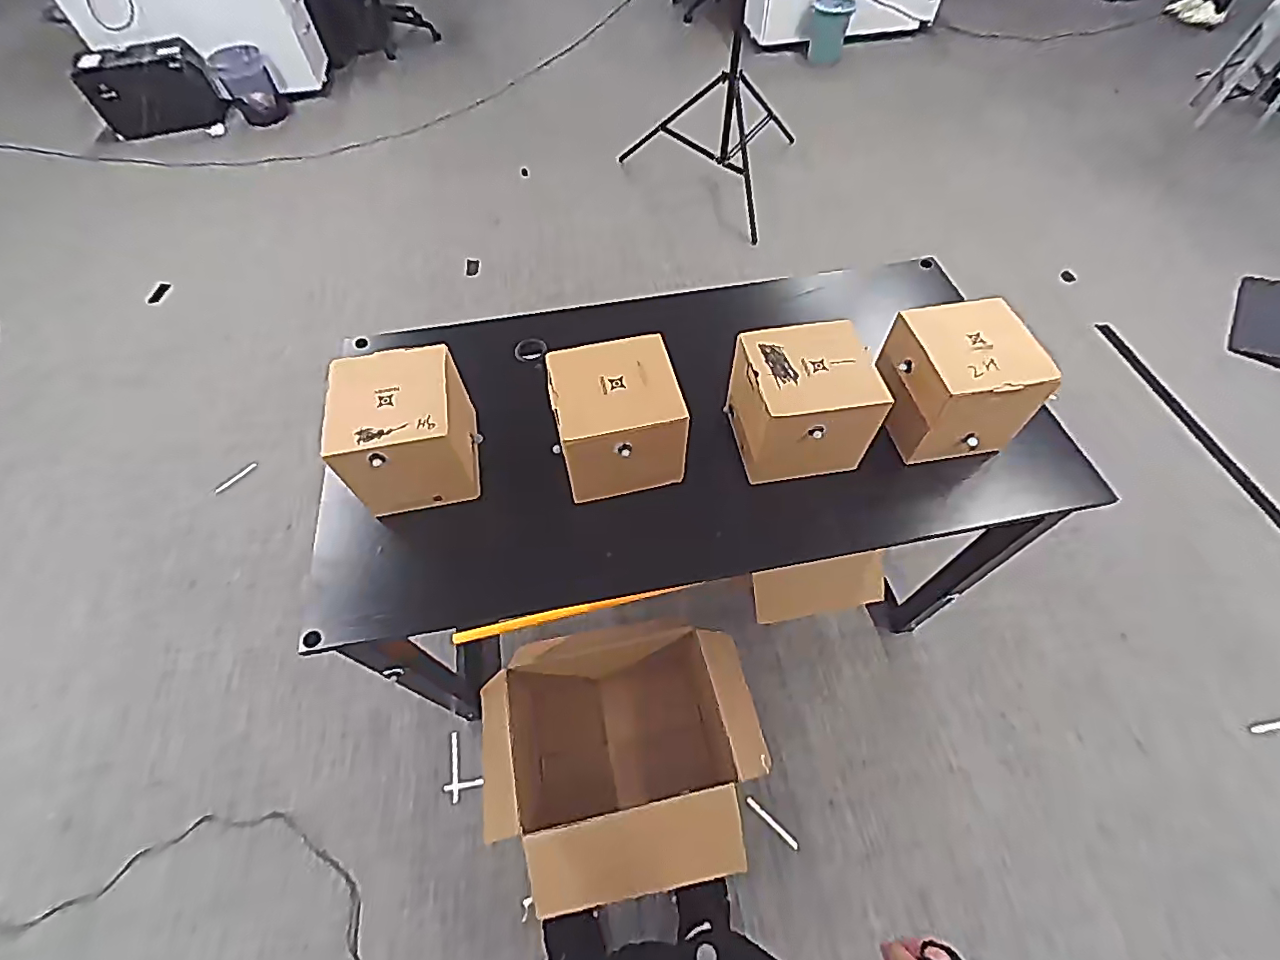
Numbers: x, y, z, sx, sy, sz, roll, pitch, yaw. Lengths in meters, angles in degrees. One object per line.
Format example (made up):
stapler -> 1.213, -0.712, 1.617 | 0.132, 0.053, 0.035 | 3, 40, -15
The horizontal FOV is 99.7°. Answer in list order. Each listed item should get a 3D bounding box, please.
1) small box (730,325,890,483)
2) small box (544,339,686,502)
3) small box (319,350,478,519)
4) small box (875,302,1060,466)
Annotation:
small box -> 0.241, -0.110, 0.828 | 0.179, 0.176, 0.168 | -8, 58, -5
small box -> -0.037, -0.084, 0.820 | 0.179, 0.176, 0.168 | -12, 59, -7
small box -> -0.348, -0.066, 0.813 | 0.168, 0.176, 0.179 | -10, 58, -6
small box -> 0.484, -0.147, 0.844 | 0.168, 0.176, 0.179 | -9, 57, -3
